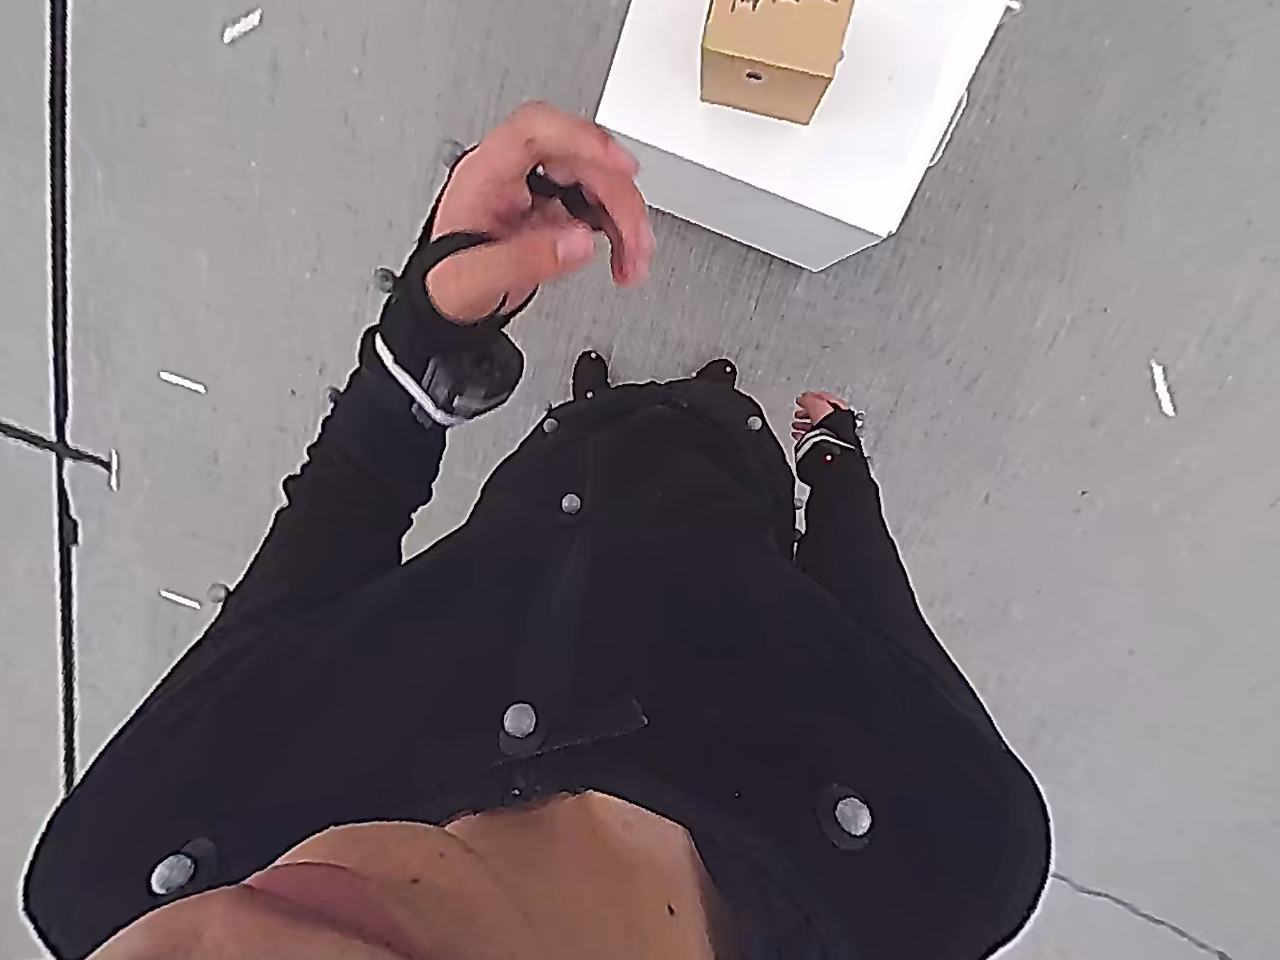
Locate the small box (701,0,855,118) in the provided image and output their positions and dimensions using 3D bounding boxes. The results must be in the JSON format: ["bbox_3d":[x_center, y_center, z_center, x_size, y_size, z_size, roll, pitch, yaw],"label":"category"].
[{"bbox_3d":[0.188,-0.629,0.740,0.179,0.176,0.168,15,107,1],"label":"small box"}]
